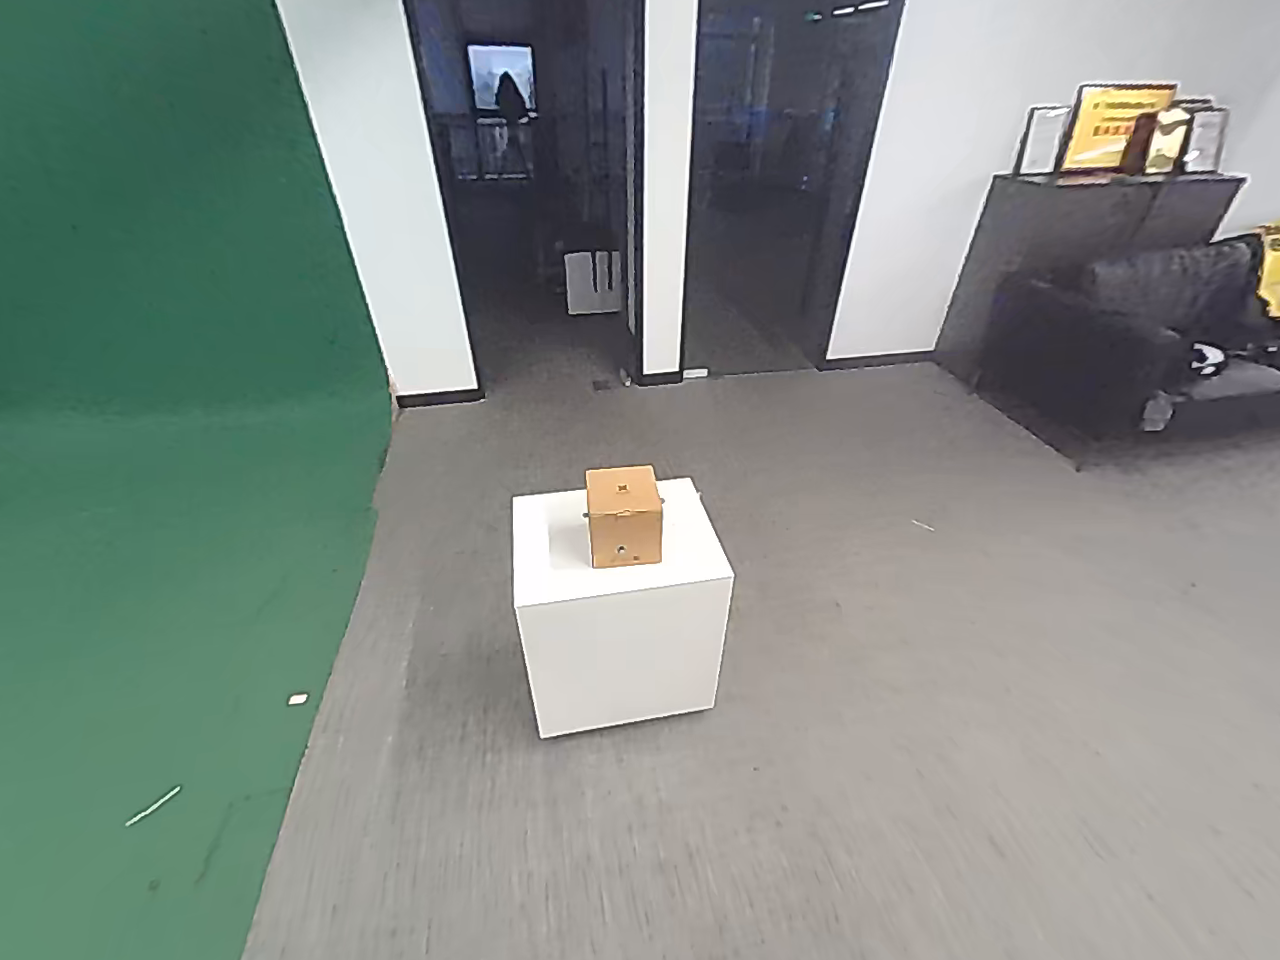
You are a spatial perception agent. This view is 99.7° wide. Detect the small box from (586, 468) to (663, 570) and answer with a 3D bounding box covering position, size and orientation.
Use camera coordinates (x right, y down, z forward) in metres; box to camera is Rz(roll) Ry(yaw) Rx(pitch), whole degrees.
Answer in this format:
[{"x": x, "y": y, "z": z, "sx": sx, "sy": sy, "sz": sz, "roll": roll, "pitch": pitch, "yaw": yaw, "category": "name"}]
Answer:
[{"x": -0.043, "y": 0.091, "z": 1.295, "sx": 0.168, "sy": 0.176, "sz": 0.179, "roll": -5, "pitch": 35, "yaw": -7, "category": "small box"}]
